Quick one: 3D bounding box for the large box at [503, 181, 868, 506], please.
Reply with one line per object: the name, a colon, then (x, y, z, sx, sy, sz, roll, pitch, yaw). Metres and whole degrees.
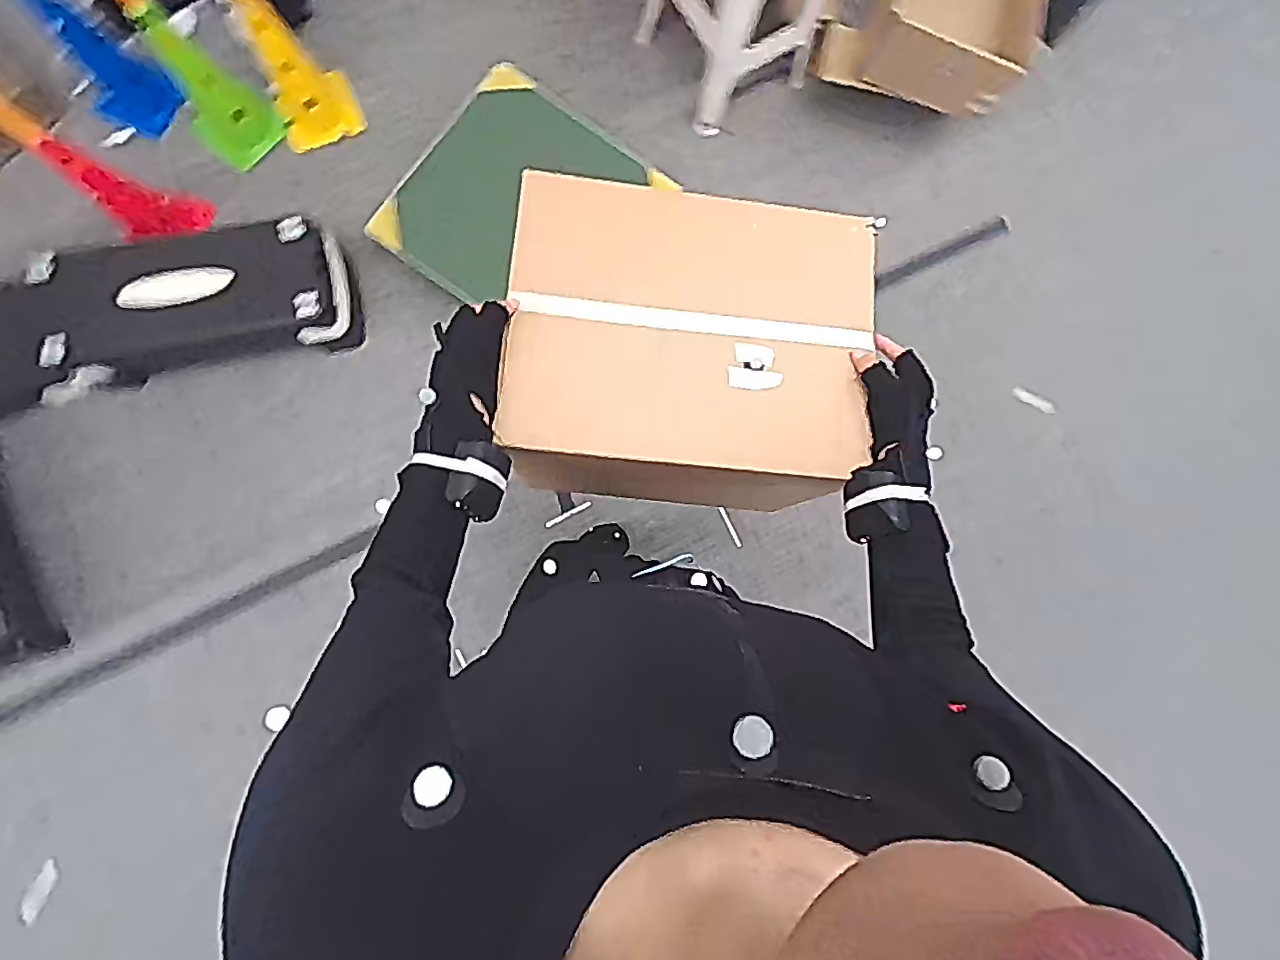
large box: (0.047, -0.149, 0.754, 0.408, 0.320, 0.320, 7, 81, -5)
